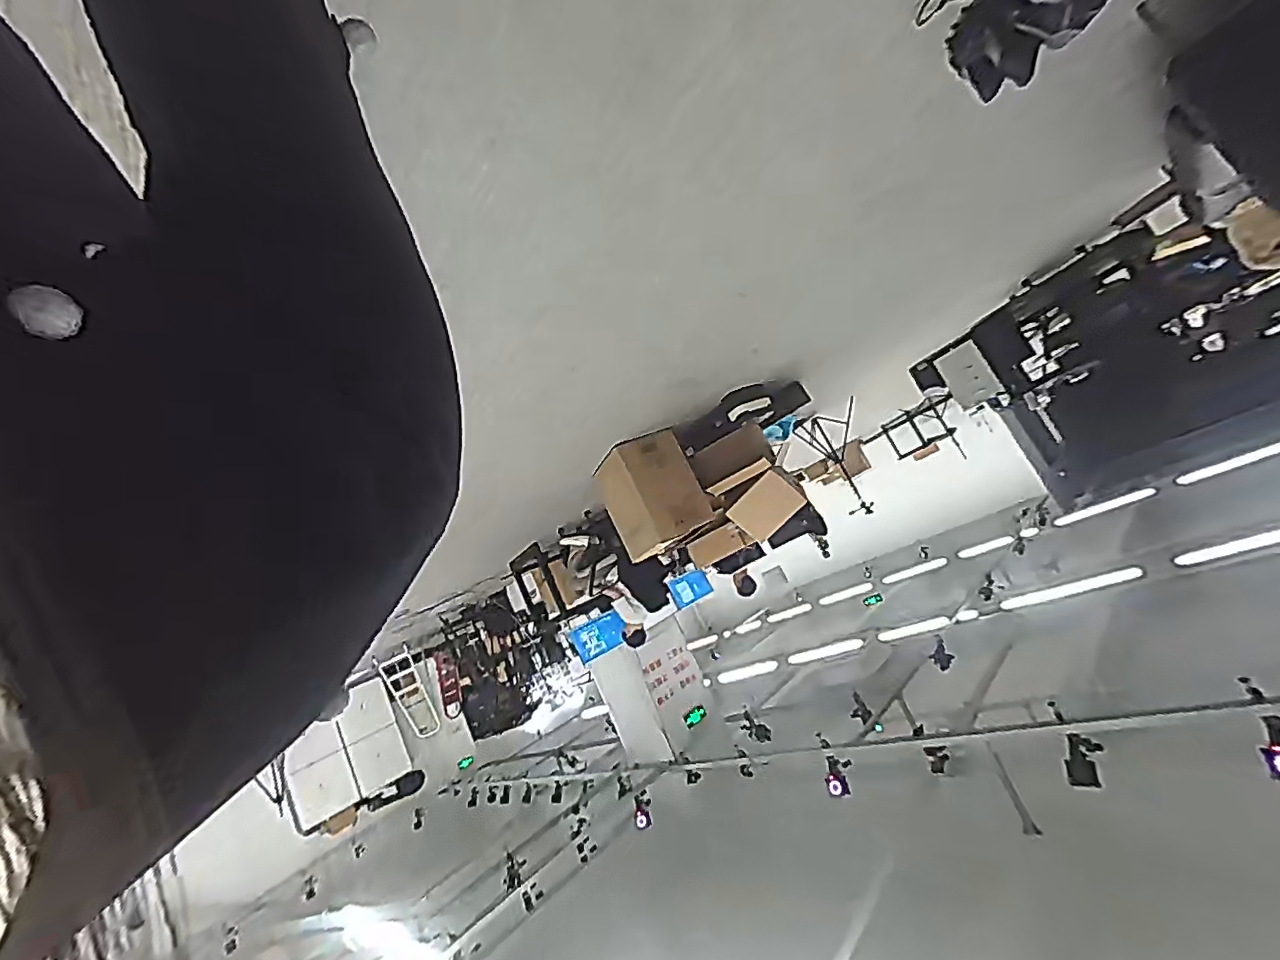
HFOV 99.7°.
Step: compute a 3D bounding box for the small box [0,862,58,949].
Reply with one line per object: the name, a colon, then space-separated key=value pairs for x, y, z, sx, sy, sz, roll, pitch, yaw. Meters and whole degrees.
small box: x=-1.826 y=1.238 z=1.547 sx=0.179 sy=0.176 sz=0.168 roll=-18 pitch=168 yaw=-43
